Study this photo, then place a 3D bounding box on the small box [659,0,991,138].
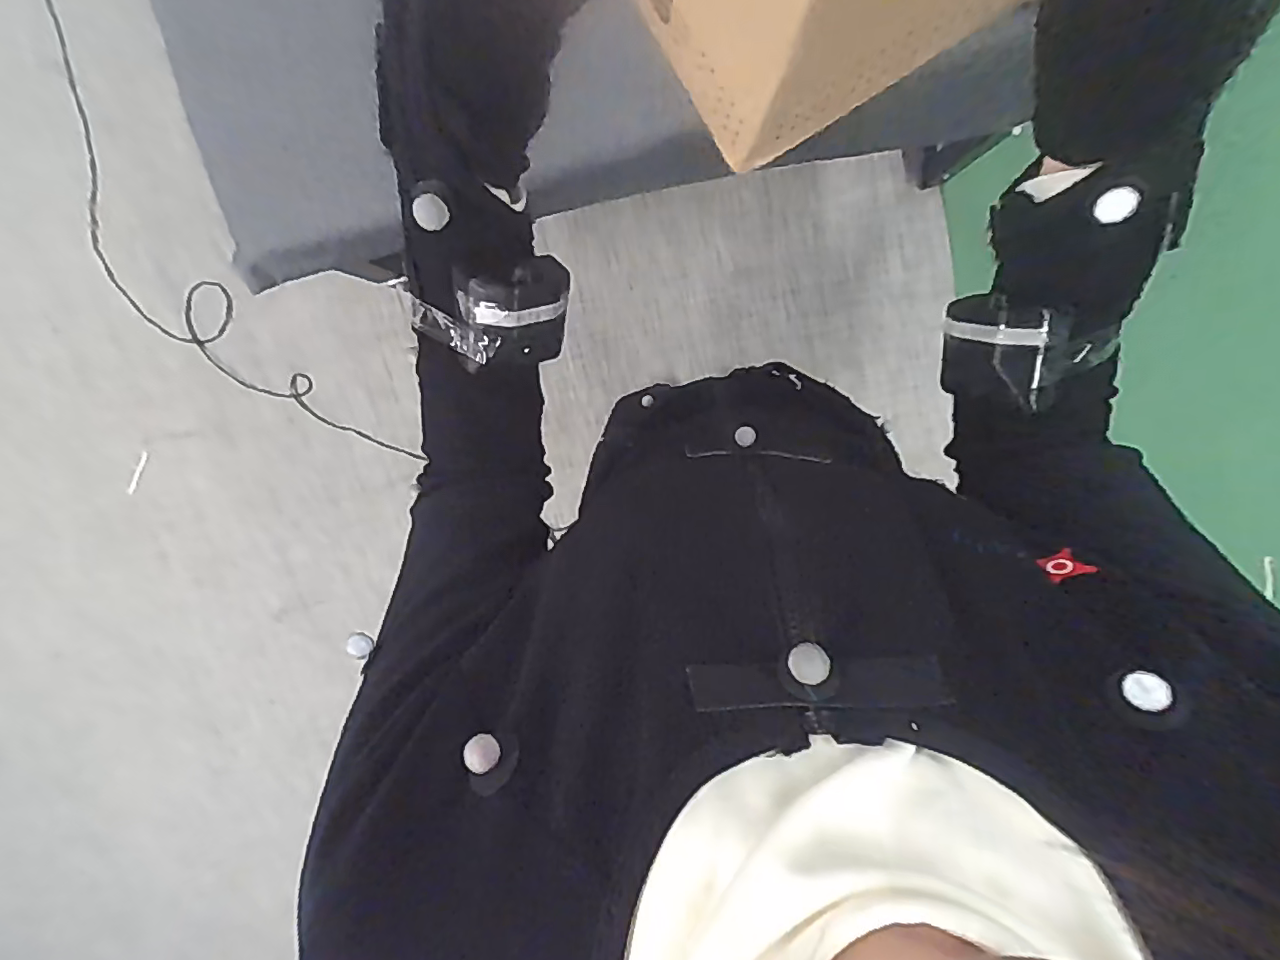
[{"bbox_3d":[0.068,-0.232,0.127,0.179,0.176,0.168,-32,94,2],"label":"small box"}]
